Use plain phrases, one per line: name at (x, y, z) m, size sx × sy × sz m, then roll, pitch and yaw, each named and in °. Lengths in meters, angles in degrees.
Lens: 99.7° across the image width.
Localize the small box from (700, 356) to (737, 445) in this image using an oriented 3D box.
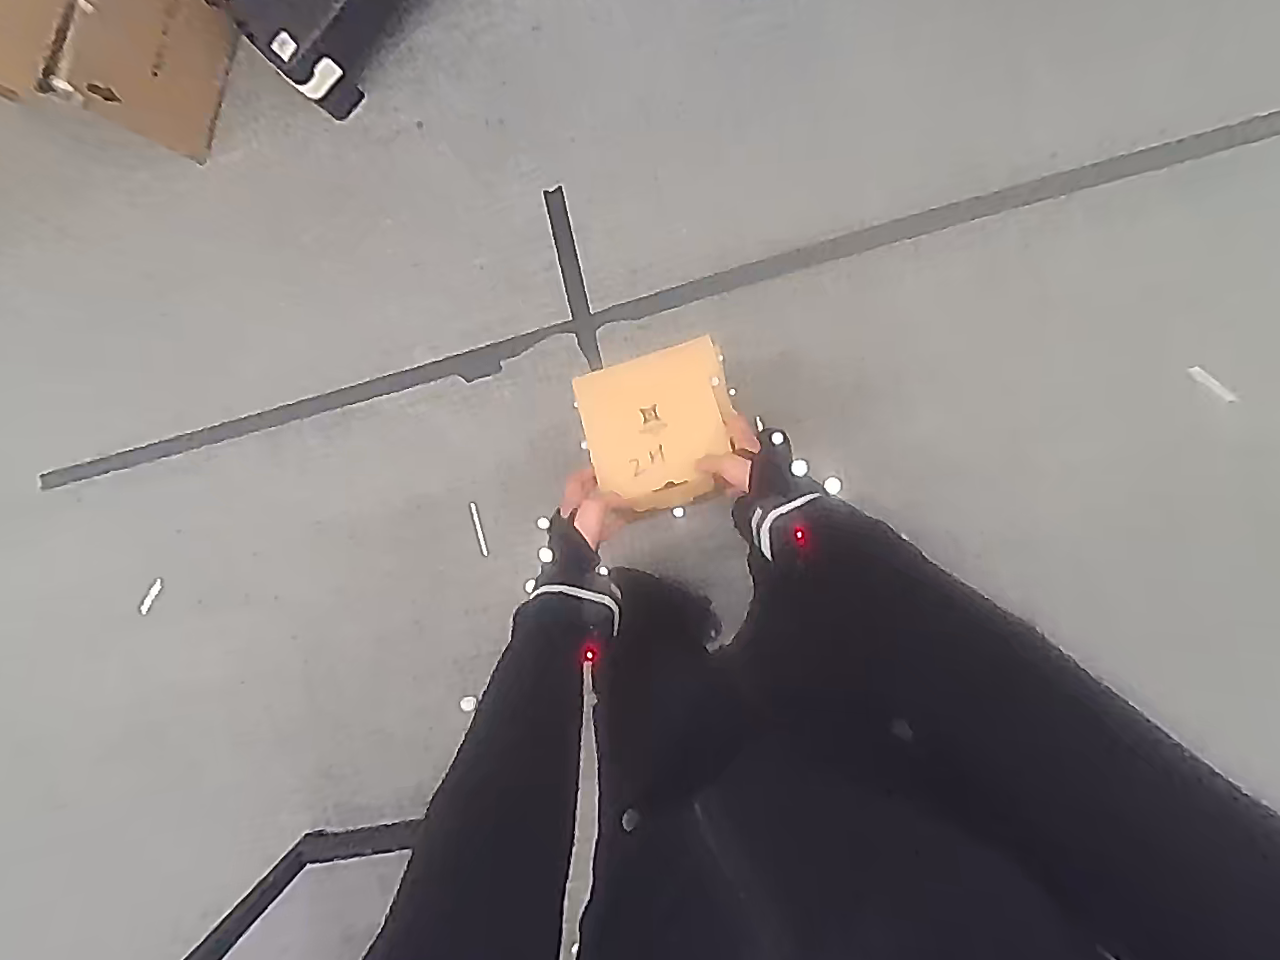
small box at (0.103, -0.151, 1.143) m, size 0.168 × 0.176 × 0.179 m, roll -11°, pitch 96°, yaw 8°

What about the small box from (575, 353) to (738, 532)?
small box at (0.026, -0.040, 0.736) m, size 0.168 × 0.176 × 0.179 m, roll -17°, pitch 77°, yaw 5°
